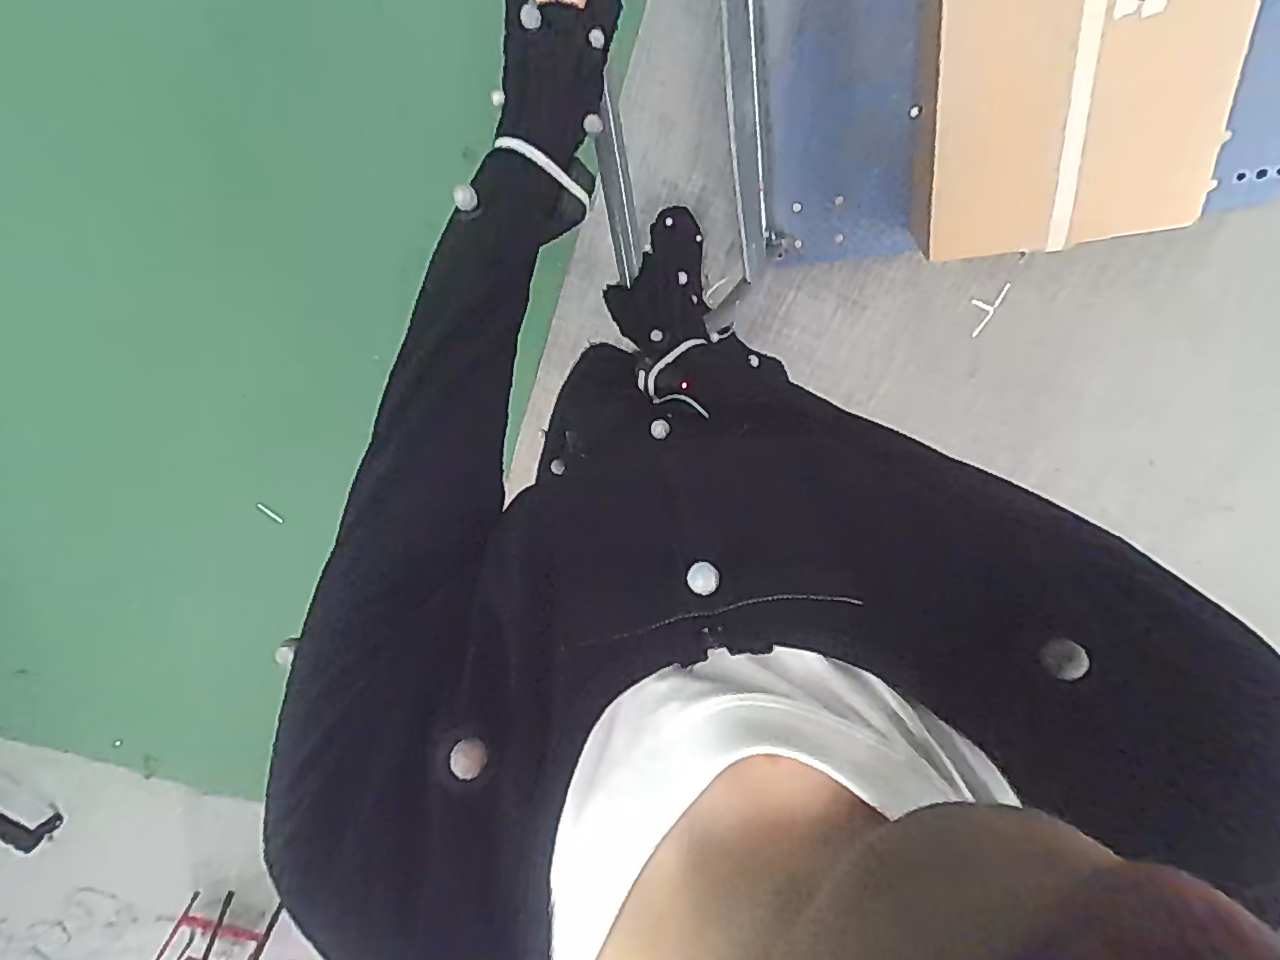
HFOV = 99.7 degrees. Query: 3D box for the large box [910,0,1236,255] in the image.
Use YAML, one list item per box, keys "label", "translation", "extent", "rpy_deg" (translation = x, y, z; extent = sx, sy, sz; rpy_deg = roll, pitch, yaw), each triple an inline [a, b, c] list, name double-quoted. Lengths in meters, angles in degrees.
- label: "large box"
  translation: [0.576, -0.585, 0.789]
  extent: [0.320, 0.320, 0.408]
  rpy_deg: [-1, 120, 21]
